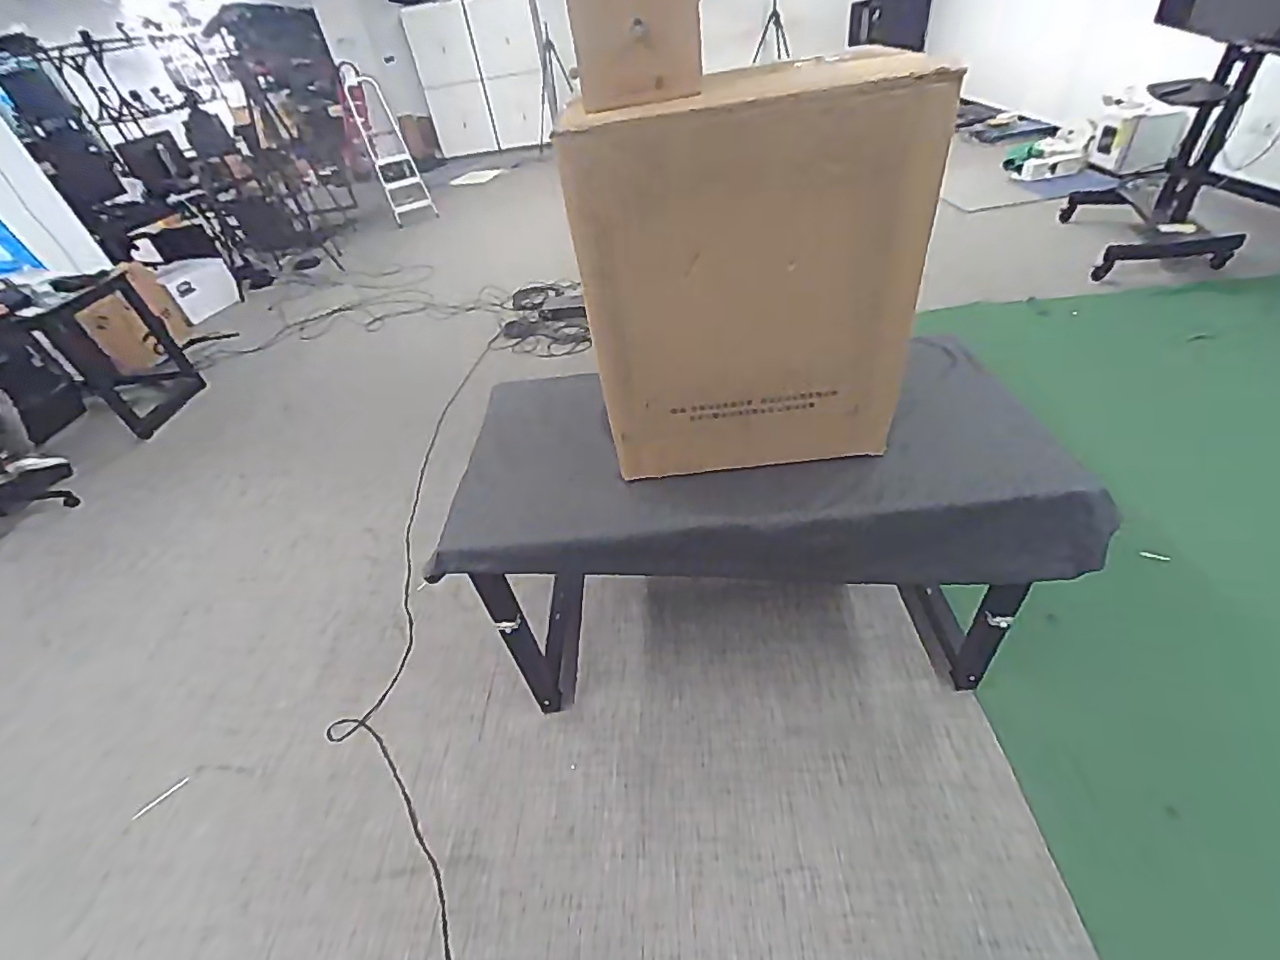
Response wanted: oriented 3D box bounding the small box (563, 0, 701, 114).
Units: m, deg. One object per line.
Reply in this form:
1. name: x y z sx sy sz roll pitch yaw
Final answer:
1. small box: -0.012 -0.626 0.746 0.168 0.176 0.179 -9 44 3
